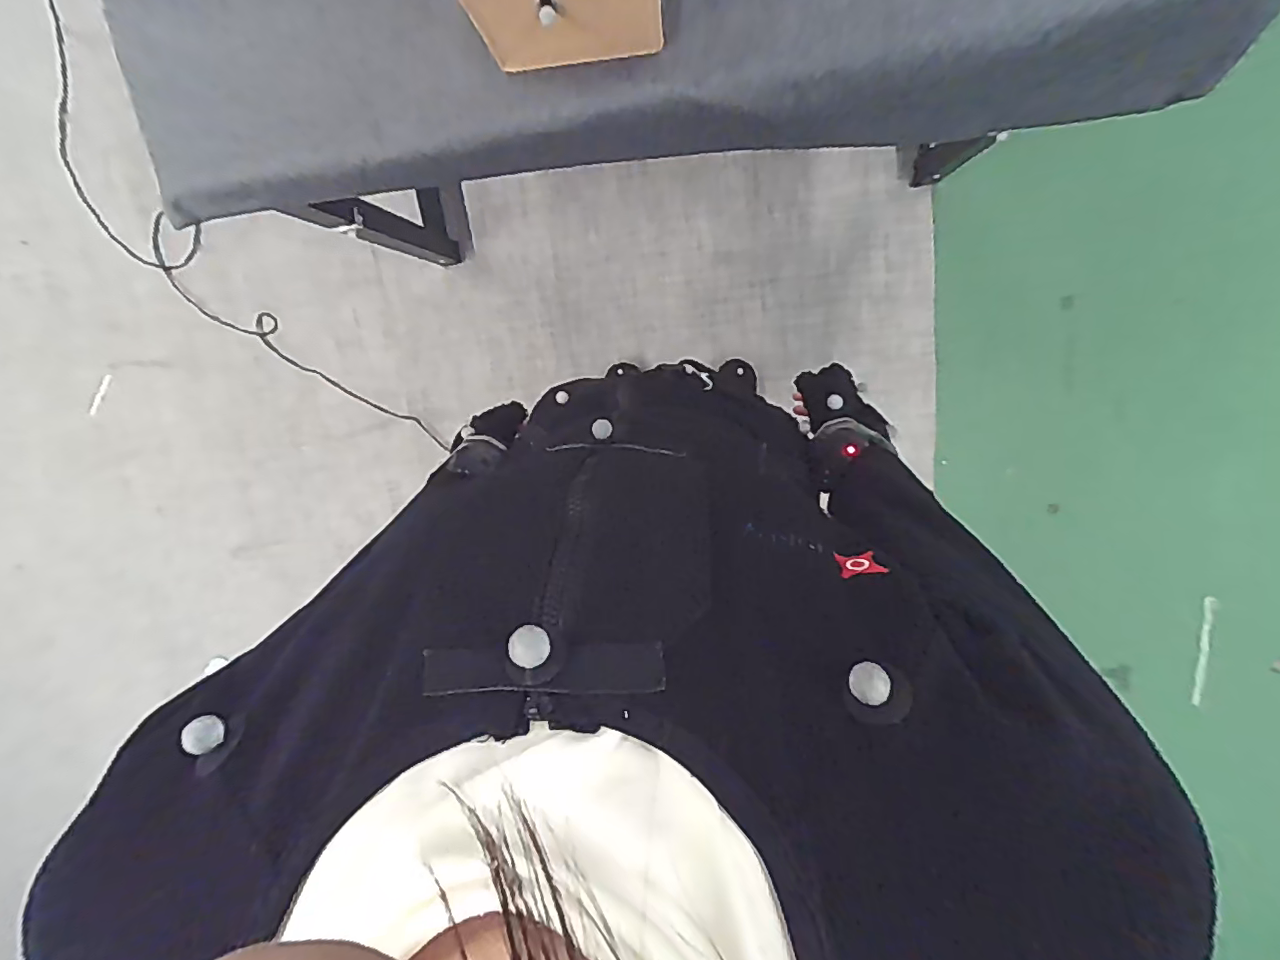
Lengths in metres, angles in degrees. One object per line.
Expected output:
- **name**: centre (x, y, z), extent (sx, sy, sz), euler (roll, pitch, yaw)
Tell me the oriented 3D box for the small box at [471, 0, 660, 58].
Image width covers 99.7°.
- **small box**: centre (-0.078, -0.516, 0.483), extent (0.179, 0.176, 0.168), euler (-3, 103, 5)
